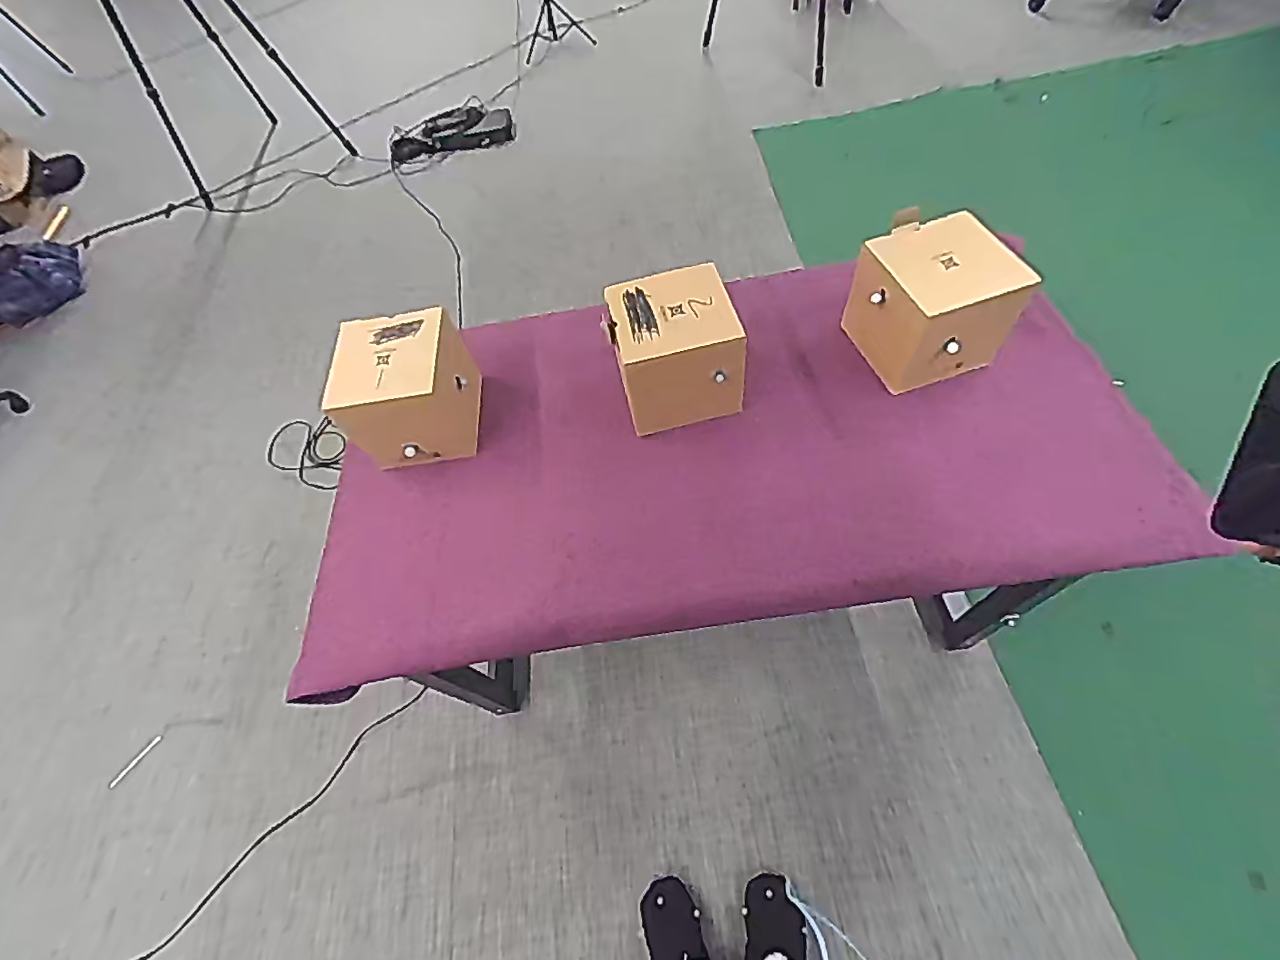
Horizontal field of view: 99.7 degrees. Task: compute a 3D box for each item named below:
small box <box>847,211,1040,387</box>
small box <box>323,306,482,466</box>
[{"bbox_3d":[0.441,-0.264,0.822,0.168,0.176,0.179,-18,58,-2],"label":"small box"},{"bbox_3d":[-0.363,-0.145,0.865,0.168,0.176,0.179,-8,60,3],"label":"small box"}]
